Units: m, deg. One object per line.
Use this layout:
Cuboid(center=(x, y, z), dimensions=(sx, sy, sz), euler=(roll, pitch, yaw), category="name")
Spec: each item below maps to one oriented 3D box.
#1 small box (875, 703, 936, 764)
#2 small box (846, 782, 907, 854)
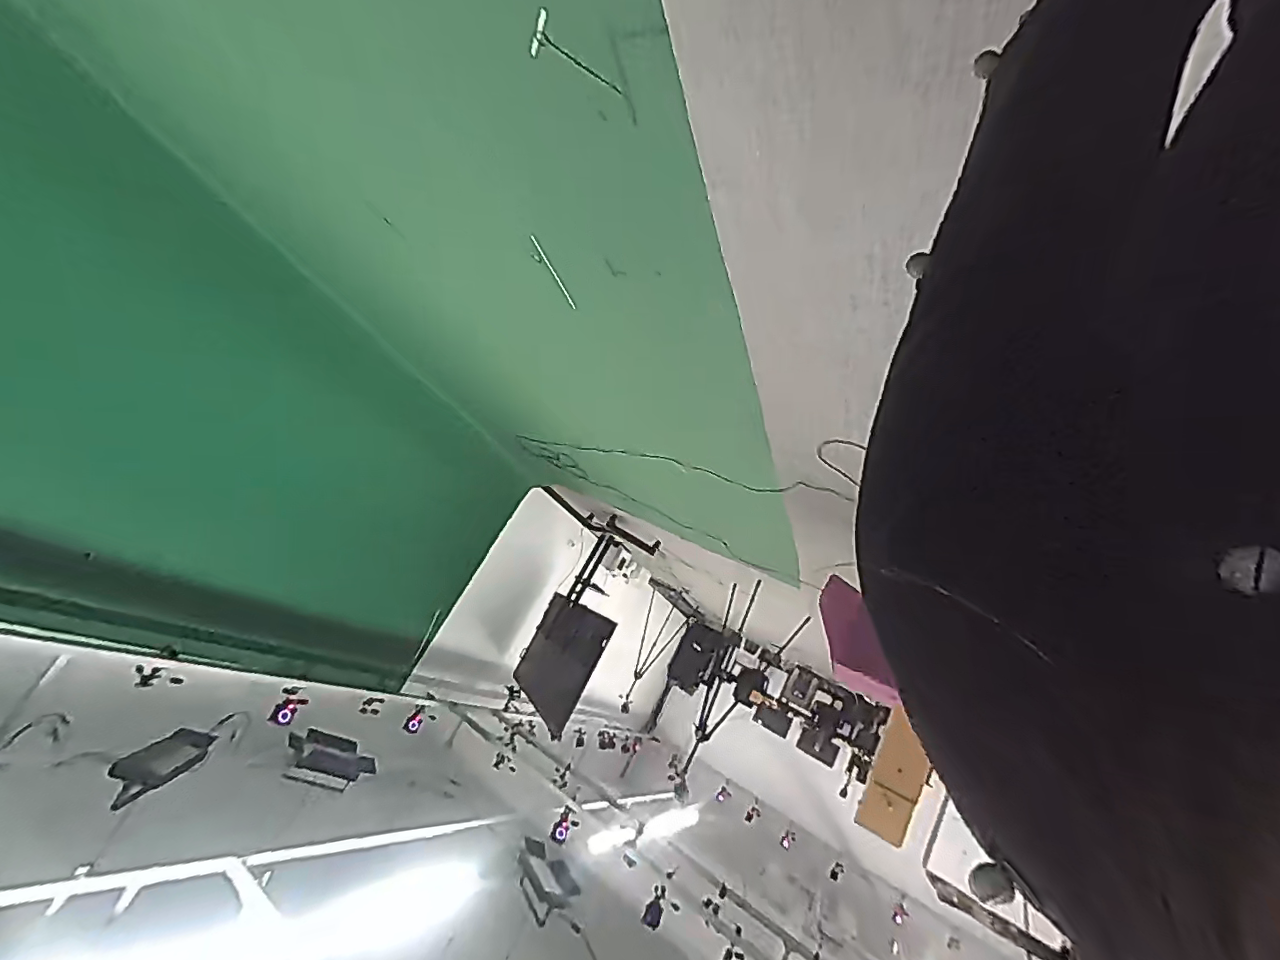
Cuboid(center=(1.060, 1.007, 2.160), dimensions=(0.168, 0.176, 0.179), euler=(22, 163, 26), category="small box")
Cuboid(center=(0.905, 1.283, 2.069), dimensions=(0.168, 0.176, 0.179), euler=(21, 162, 26), category="small box")
